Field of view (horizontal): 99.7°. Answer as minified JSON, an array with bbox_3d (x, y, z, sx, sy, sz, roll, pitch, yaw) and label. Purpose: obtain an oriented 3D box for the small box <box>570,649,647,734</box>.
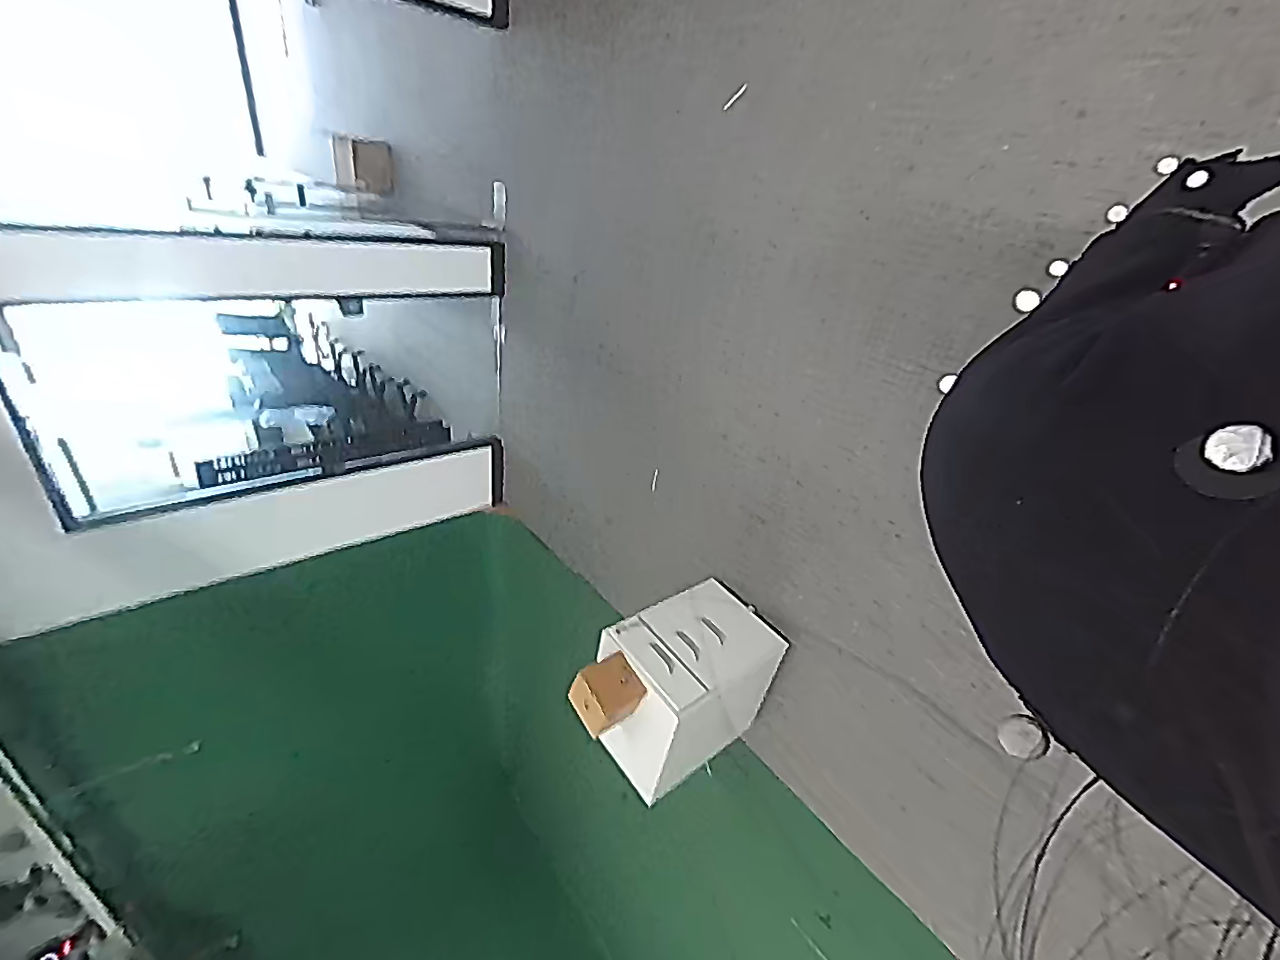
[{"bbox_3d":[-0.102,0.684,1.760,0.168,0.176,0.179,50,137,28],"label":"small box"}]
